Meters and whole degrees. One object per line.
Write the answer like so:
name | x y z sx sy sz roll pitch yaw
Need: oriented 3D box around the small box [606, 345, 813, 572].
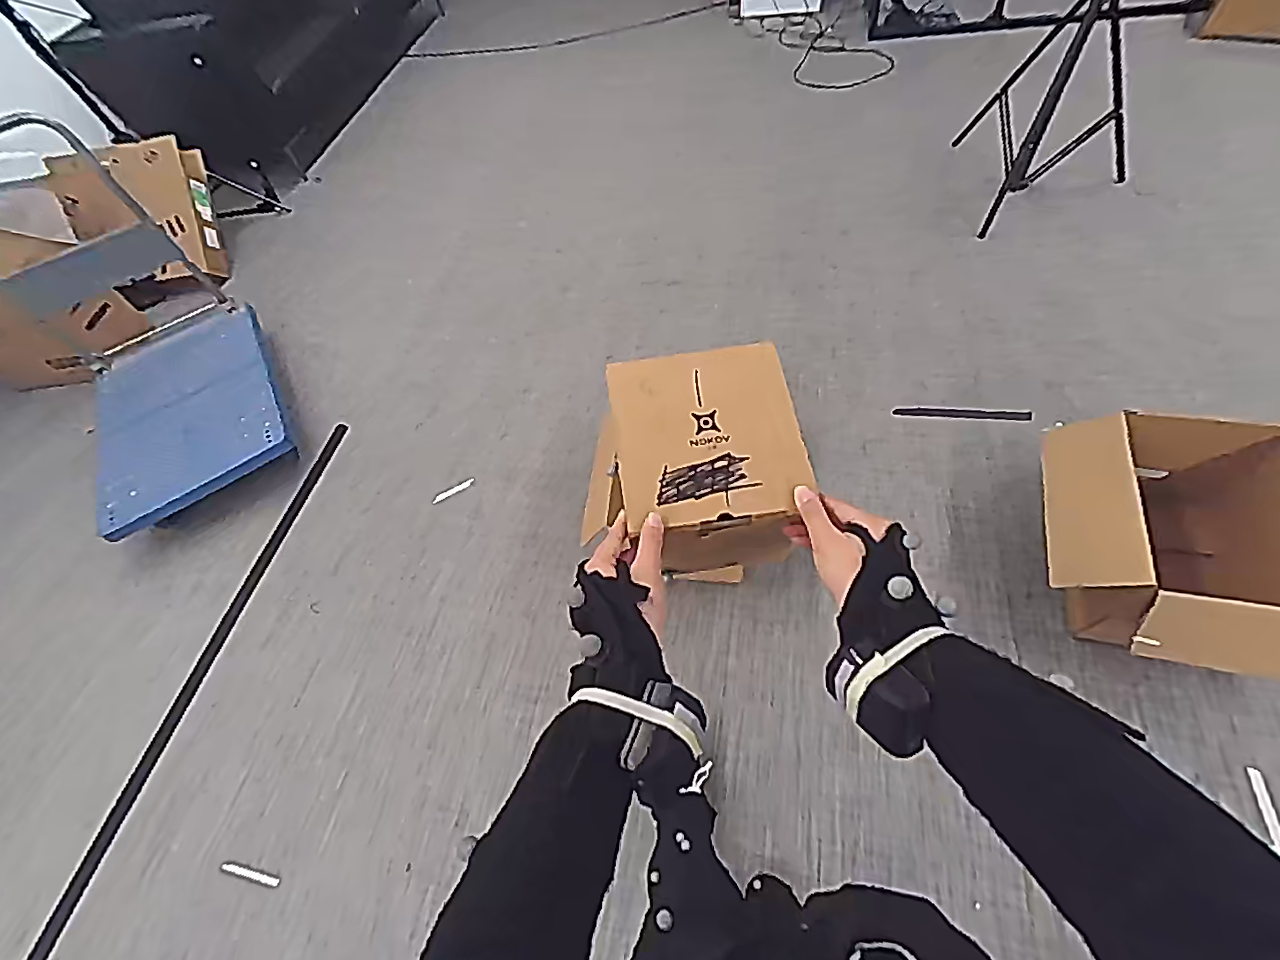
small box | 0.061 -0.010 0.565 0.168 0.176 0.179 -8 65 -2
